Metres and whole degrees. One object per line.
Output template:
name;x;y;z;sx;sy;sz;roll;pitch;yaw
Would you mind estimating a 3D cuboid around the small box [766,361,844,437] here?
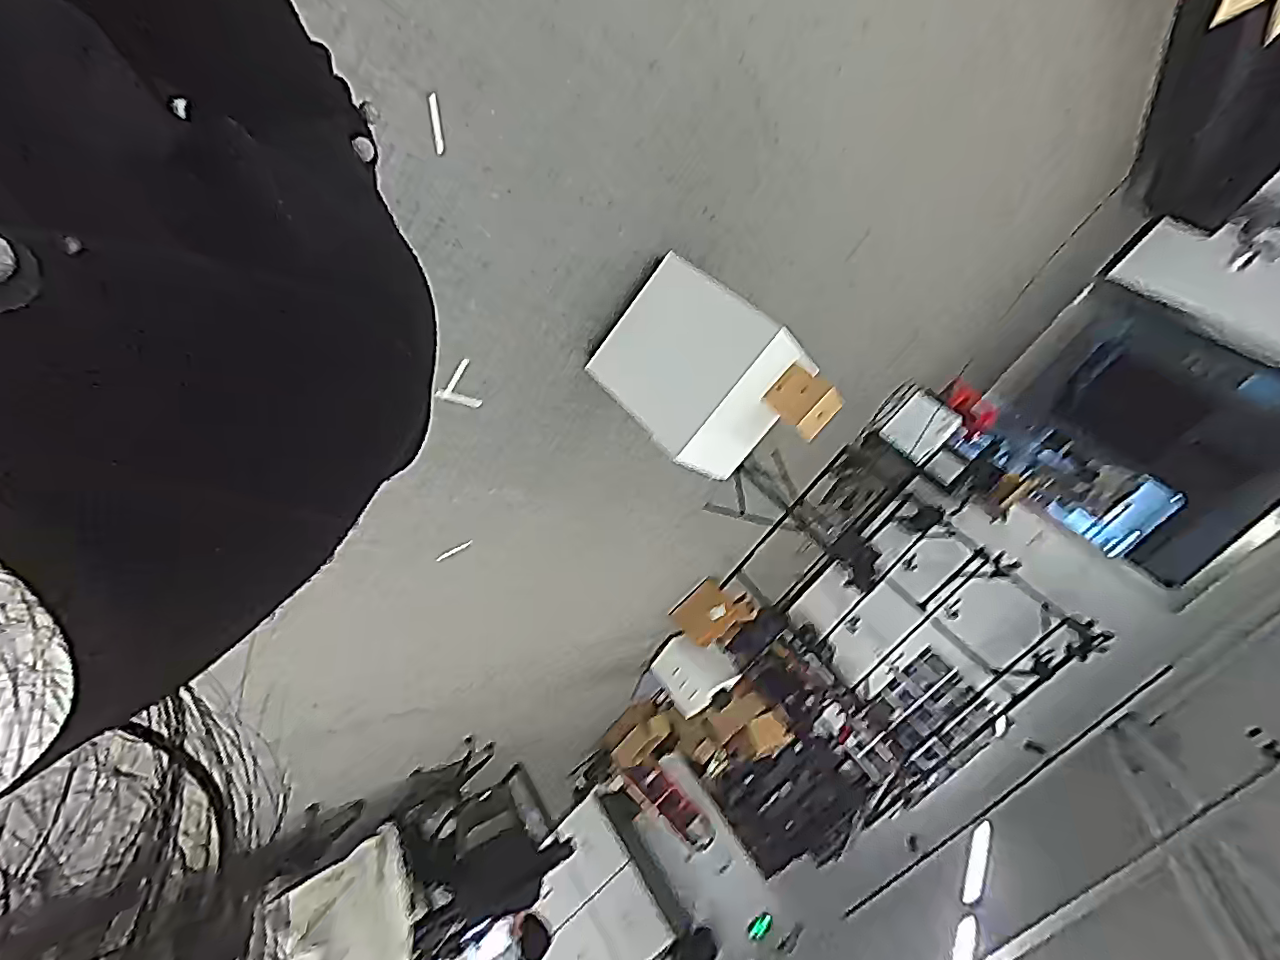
small box;0.552;-0.275;1.818;0.168;0.176;0.179;-49;149;12
